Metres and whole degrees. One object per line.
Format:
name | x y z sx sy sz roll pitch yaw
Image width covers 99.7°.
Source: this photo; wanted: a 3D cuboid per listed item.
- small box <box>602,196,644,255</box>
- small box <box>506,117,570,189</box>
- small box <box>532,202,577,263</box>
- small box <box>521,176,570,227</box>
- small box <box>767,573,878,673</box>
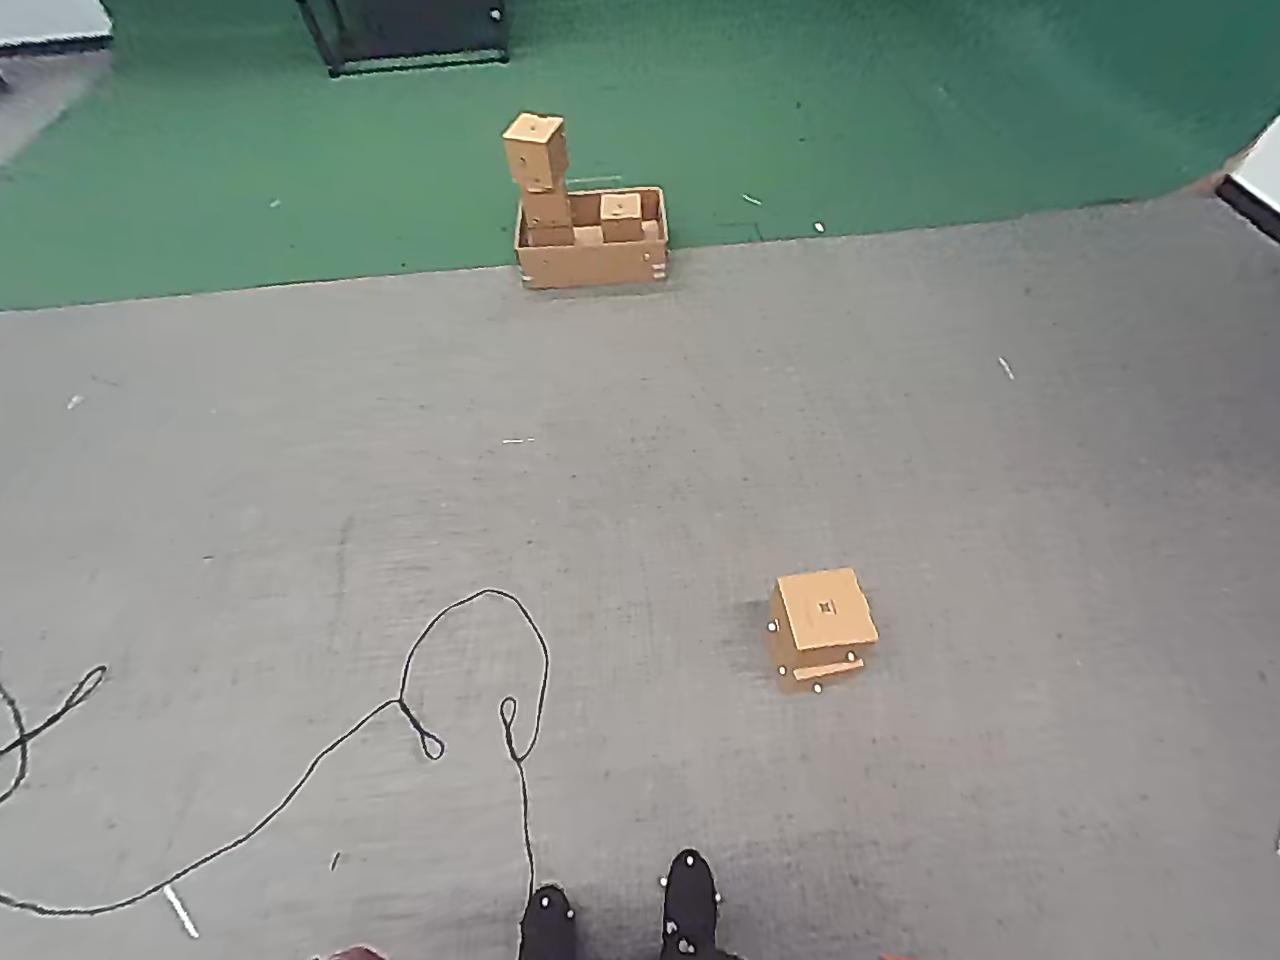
small box | -0.070 -1.086 2.307 0.168 0.176 0.179 -1 57 2
small box | -0.371 -1.210 2.008 0.168 0.176 0.179 14 58 11
small box | -0.360 -1.048 2.292 0.168 0.176 0.179 -6 57 -2
small box | -0.369 -1.128 2.148 0.168 0.176 0.179 -4 56 -2
small box | 0.404 0.328 1.229 0.179 0.176 0.168 -8 56 -1
